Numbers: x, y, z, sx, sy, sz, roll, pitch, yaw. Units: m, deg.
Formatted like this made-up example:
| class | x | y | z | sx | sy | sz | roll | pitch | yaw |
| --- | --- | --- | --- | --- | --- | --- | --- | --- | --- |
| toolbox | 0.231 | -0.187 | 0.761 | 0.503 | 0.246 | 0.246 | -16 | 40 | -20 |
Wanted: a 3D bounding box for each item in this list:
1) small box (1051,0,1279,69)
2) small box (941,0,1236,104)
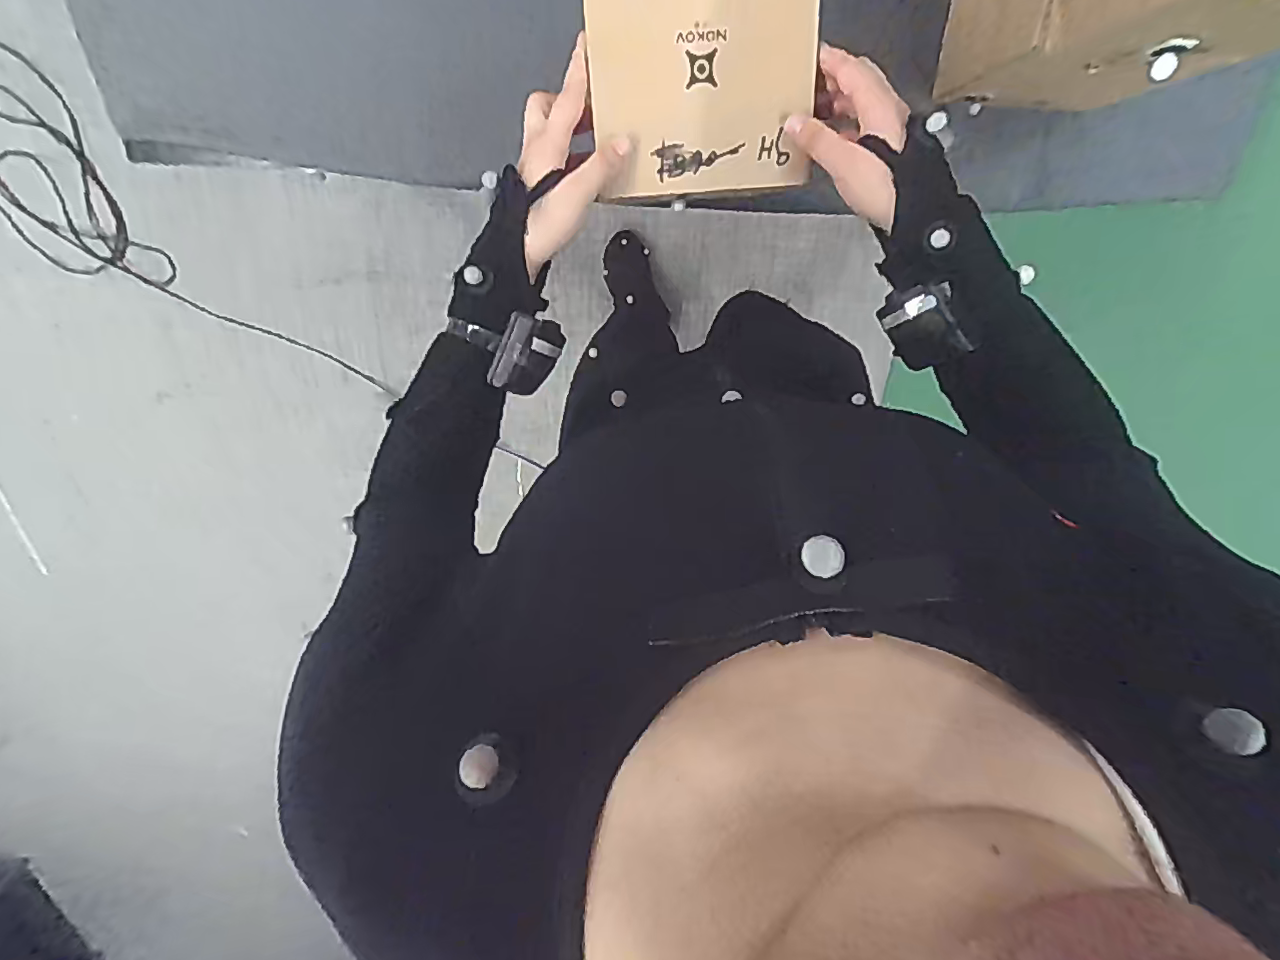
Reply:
| class | x | y | z | sx | sy | sz | roll | pitch | yaw |
| --- | --- | --- | --- | --- | --- | --- | --- | --- | --- |
| small box | 0.382 | -0.364 | 0.305 | 0.168 | 0.176 | 0.179 | -1 | 115 | 2 |
| small box | 0.384 | -0.435 | 0.451 | 0.168 | 0.176 | 0.179 | 2 | 113 | 0 |
